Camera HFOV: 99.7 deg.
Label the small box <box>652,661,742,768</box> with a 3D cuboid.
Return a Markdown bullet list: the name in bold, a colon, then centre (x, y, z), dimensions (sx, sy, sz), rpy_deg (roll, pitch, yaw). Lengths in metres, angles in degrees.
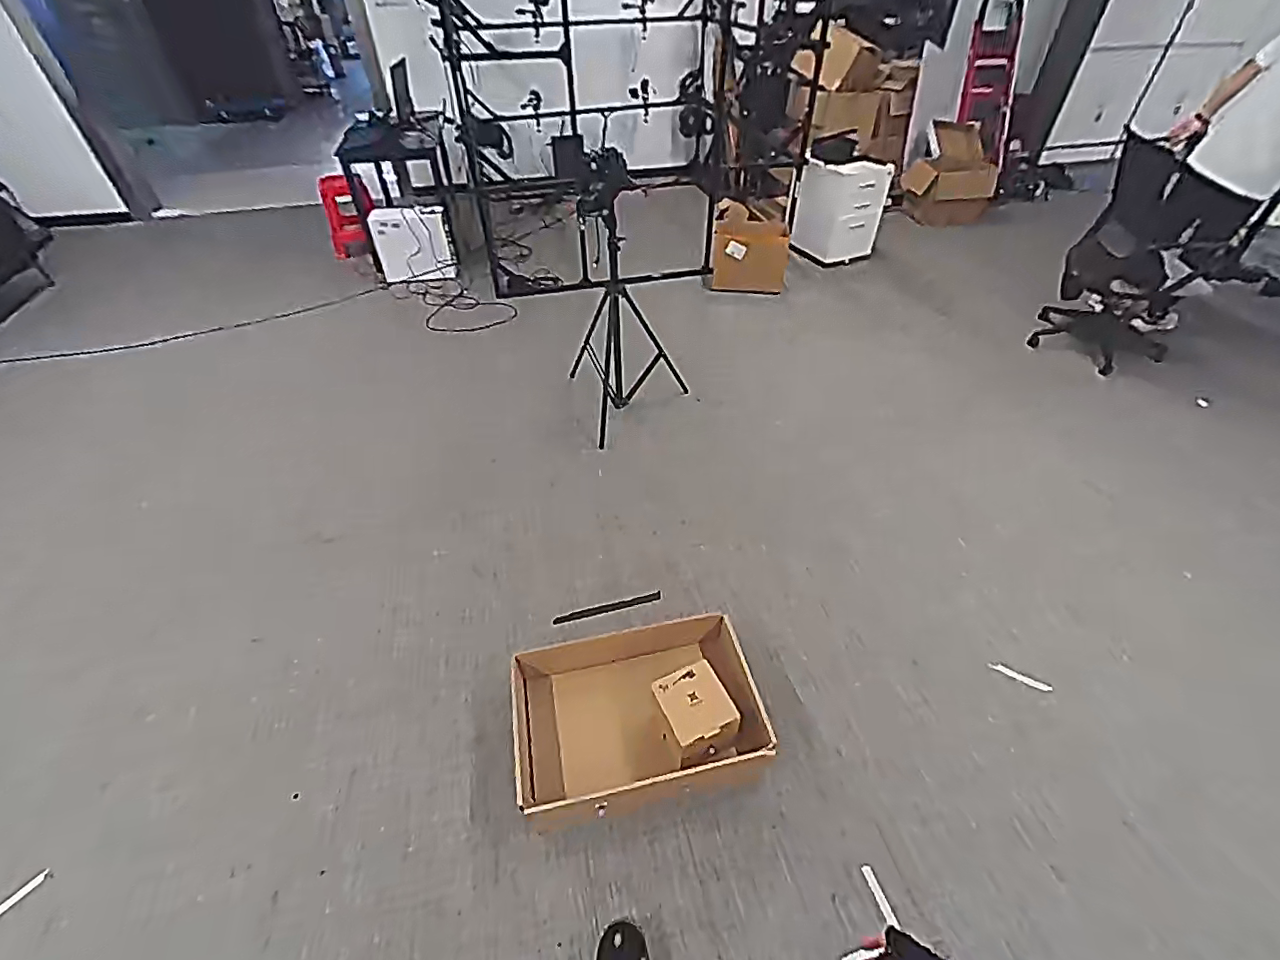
- **small box**: centre (0.142, 0.606, 1.384), dimensions (0.168, 0.176, 0.179), rpy_deg (-18, 46, -18)
